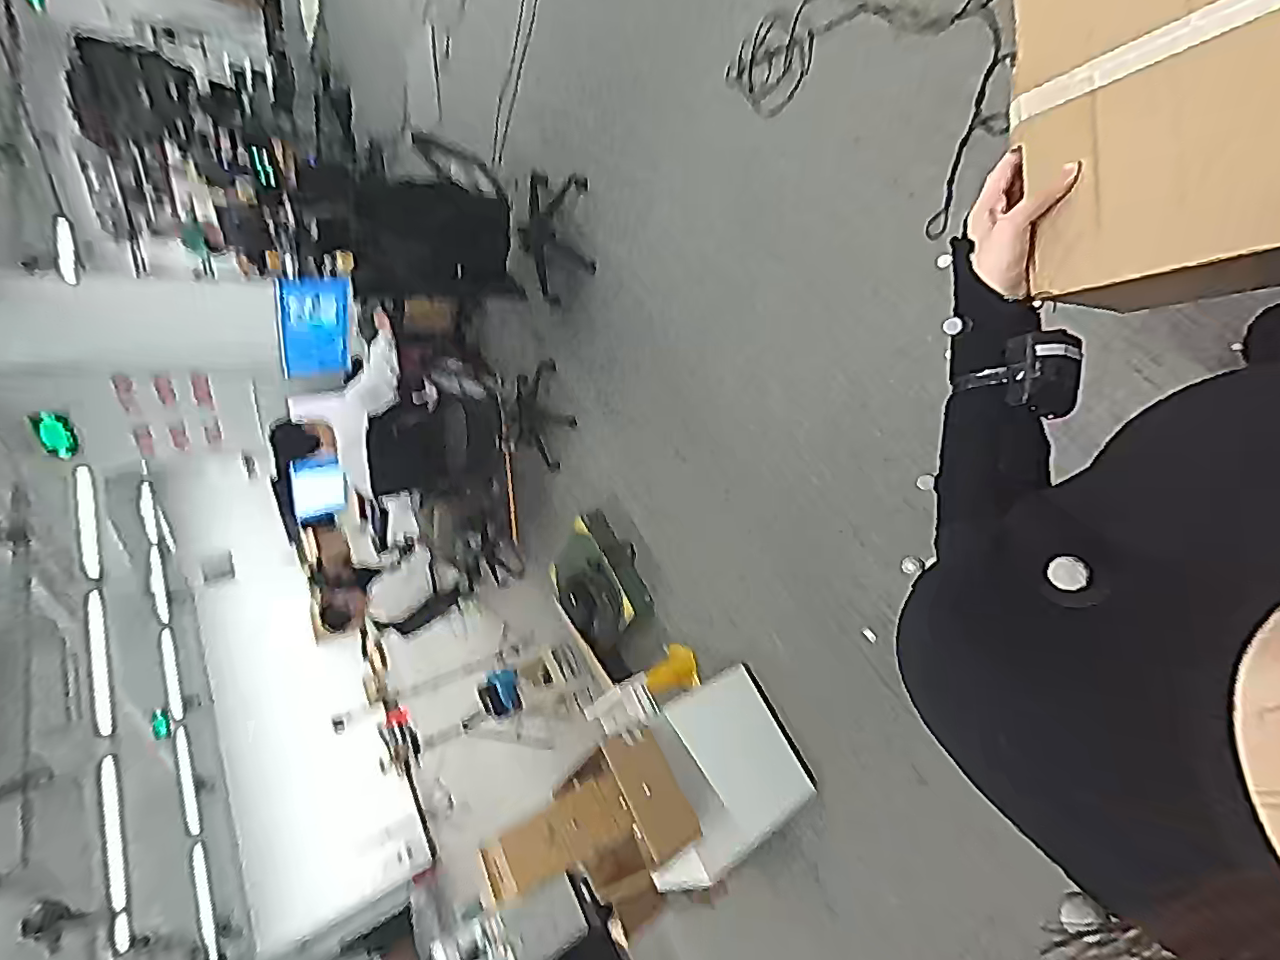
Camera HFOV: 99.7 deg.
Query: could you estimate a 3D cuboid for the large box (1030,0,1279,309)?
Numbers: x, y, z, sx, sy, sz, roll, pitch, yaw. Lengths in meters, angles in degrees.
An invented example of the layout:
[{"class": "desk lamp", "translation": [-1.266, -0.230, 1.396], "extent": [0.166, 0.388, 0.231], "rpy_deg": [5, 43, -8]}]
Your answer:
[{"class": "large box", "translation": [0.564, -0.333, 0.386], "extent": [0.408, 0.320, 0.320], "rpy_deg": [1, 99, 51]}]
